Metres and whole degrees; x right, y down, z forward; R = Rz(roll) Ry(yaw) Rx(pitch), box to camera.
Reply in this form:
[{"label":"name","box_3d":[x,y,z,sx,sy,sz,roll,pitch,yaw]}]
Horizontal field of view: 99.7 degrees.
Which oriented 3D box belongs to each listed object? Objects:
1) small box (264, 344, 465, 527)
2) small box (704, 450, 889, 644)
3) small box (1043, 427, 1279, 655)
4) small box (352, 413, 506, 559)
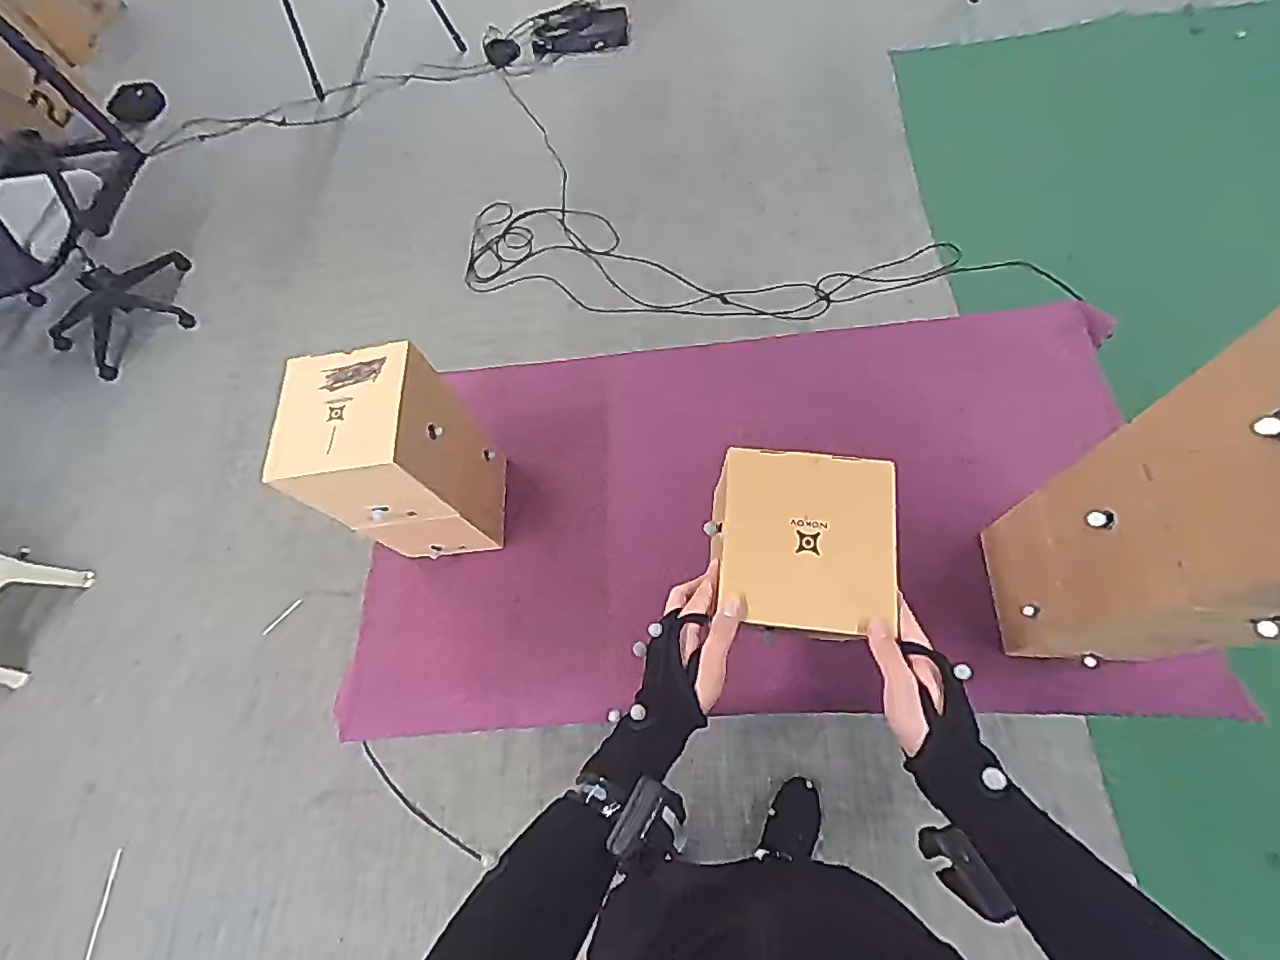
[{"label":"small box","box_3d":[-0.348,-0.052,0.723,0.168,0.176,0.179,-7,66,7]},{"label":"small box","box_3d":[0.161,0.083,0.597,0.168,0.176,0.179,5,72,5]},{"label":"small box","box_3d":[0.535,0.063,0.526,0.168,0.176,0.179,0,65,10]},{"label":"small box","box_3d":[-0.325,0.015,0.870,0.168,0.176,0.179,-7,66,7]}]
